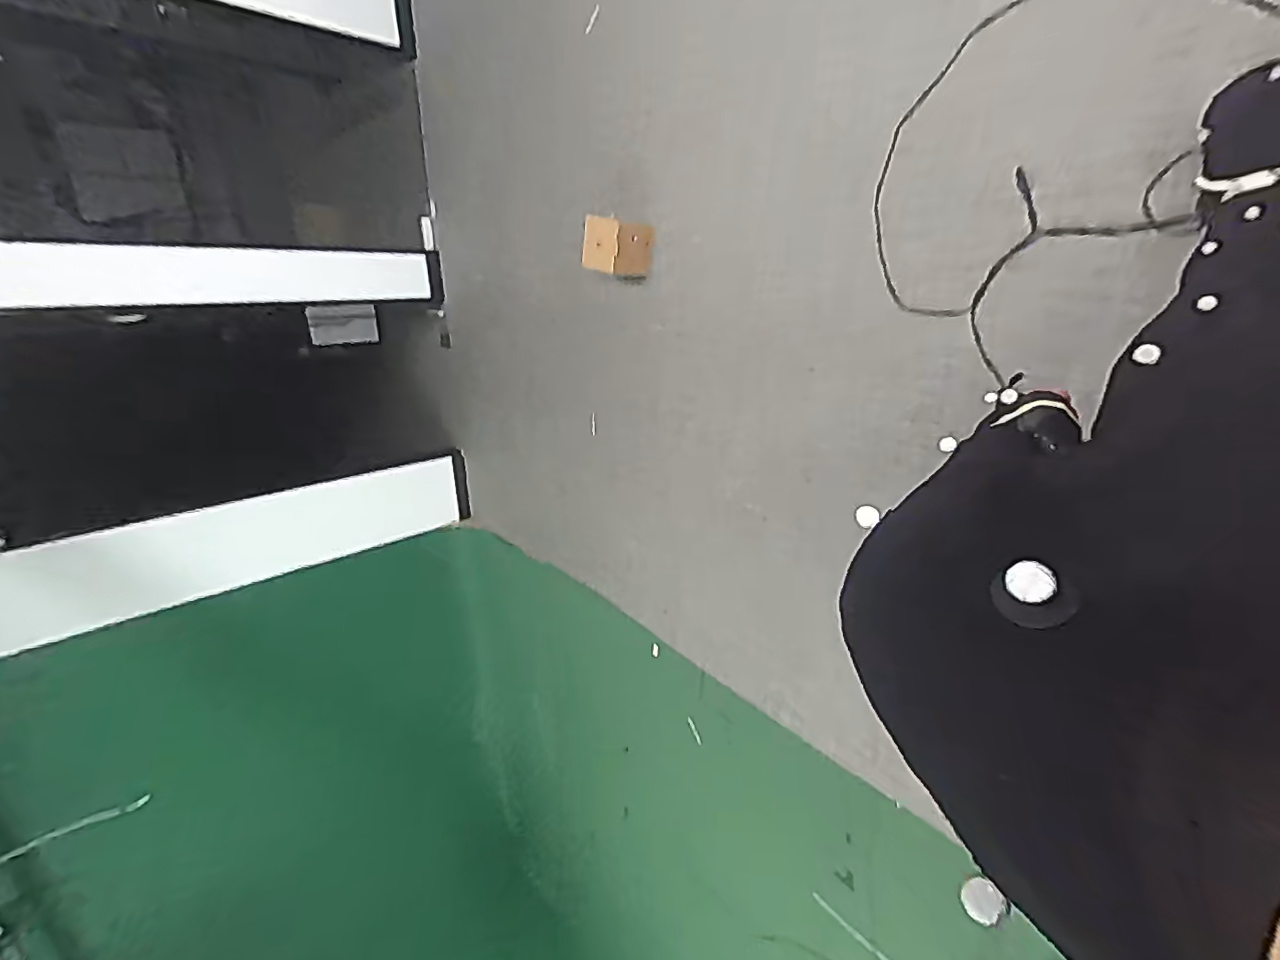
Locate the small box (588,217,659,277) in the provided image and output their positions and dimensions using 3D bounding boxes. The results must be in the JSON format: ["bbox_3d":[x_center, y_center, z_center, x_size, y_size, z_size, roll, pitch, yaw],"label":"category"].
[{"bbox_3d":[-0.055,-0.802,1.866,0.179,0.176,0.168,34,126,40],"label":"small box"}]
